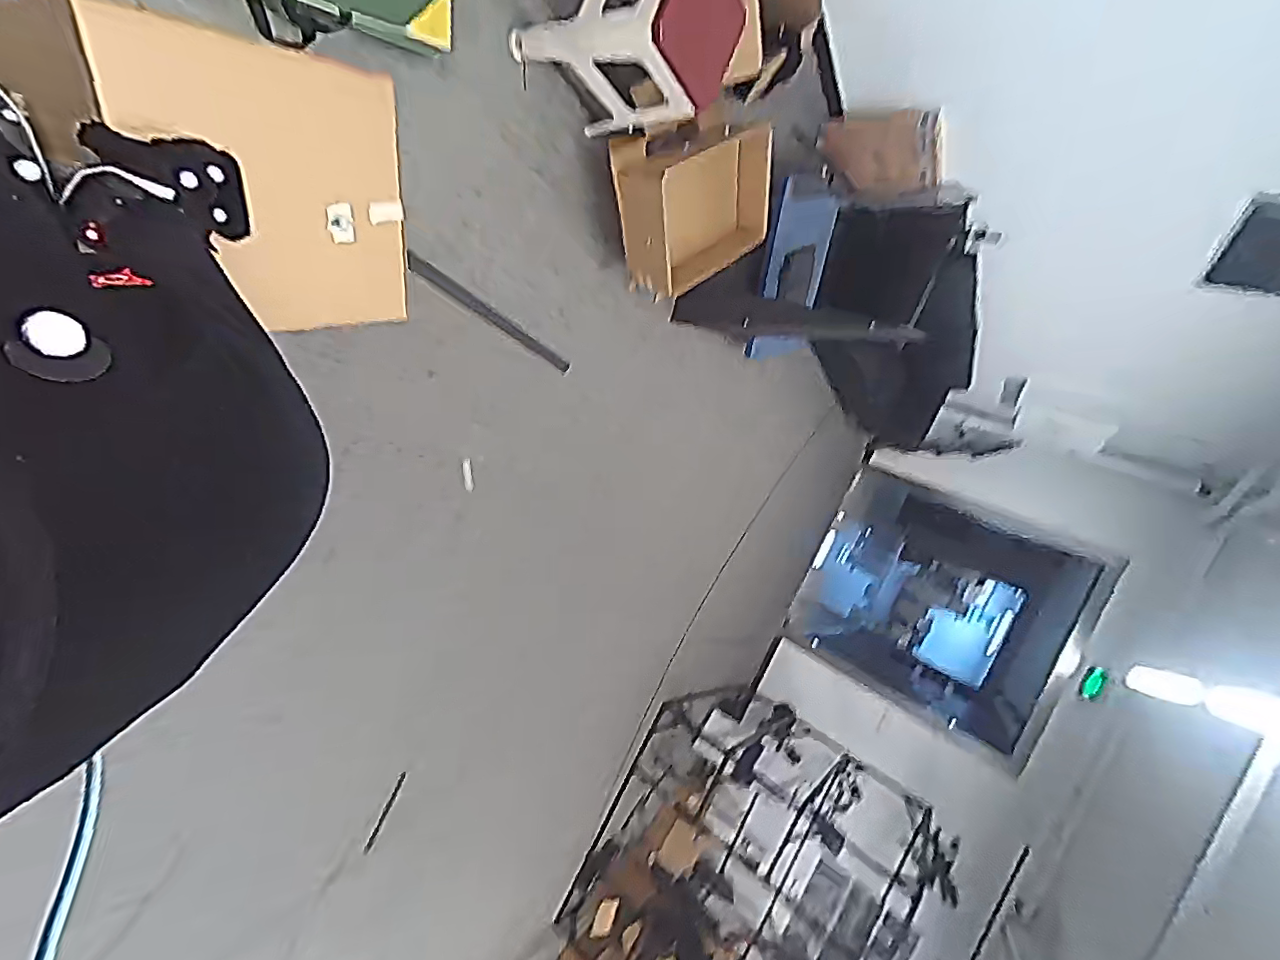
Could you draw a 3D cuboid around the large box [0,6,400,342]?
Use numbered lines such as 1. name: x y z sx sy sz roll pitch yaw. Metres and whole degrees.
1. large box: -0.596 -0.407 0.758 0.320 0.408 0.320 -26 133 -49
